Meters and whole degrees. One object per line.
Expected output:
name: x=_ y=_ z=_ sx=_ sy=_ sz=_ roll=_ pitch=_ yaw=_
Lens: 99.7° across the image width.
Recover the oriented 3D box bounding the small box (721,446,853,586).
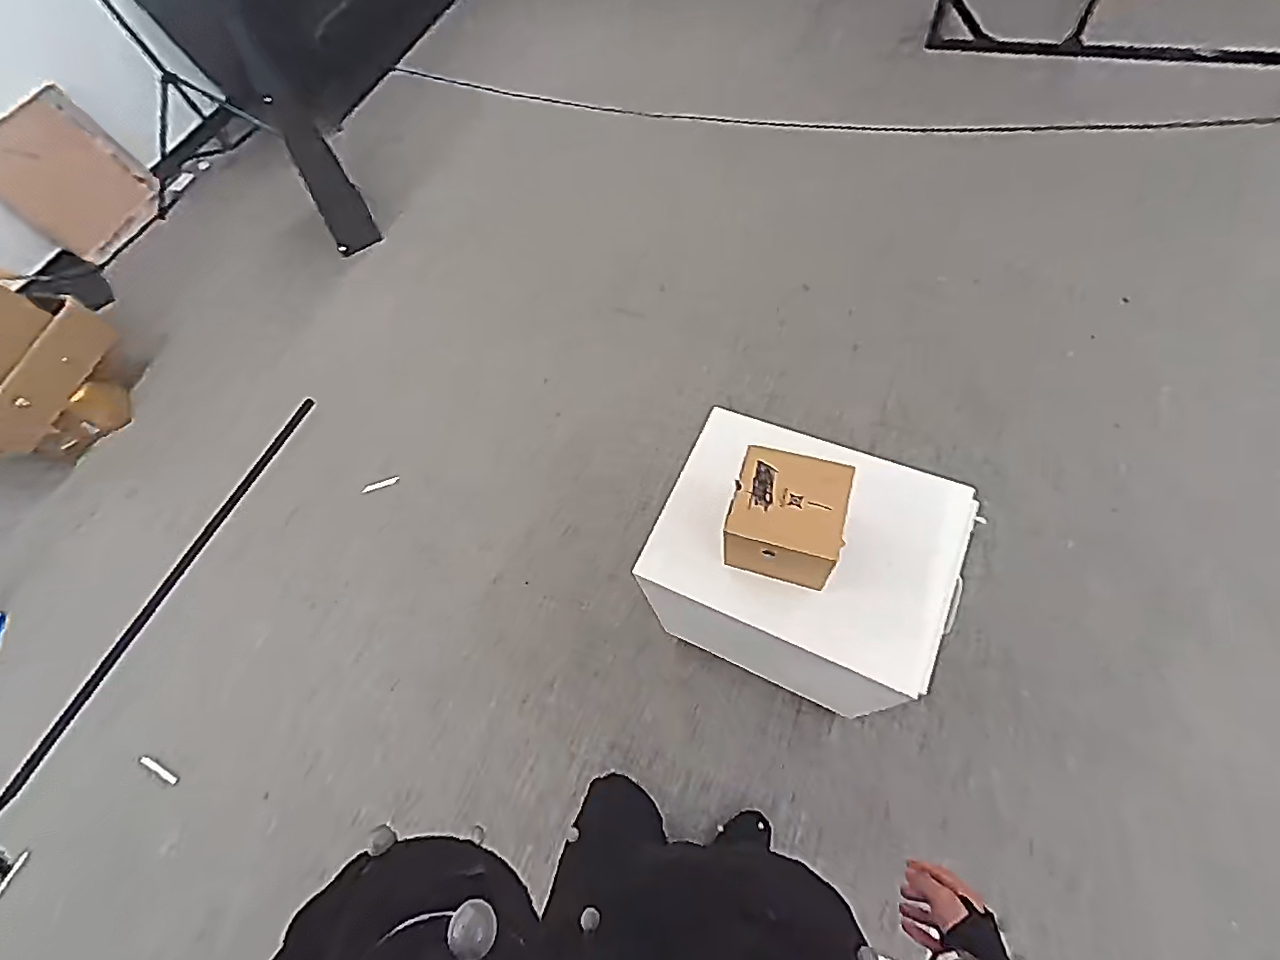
small box: x=0.244 y=0.067 z=0.922 sx=0.179 sy=0.176 sz=0.168 roll=14 pitch=67 yaw=15
